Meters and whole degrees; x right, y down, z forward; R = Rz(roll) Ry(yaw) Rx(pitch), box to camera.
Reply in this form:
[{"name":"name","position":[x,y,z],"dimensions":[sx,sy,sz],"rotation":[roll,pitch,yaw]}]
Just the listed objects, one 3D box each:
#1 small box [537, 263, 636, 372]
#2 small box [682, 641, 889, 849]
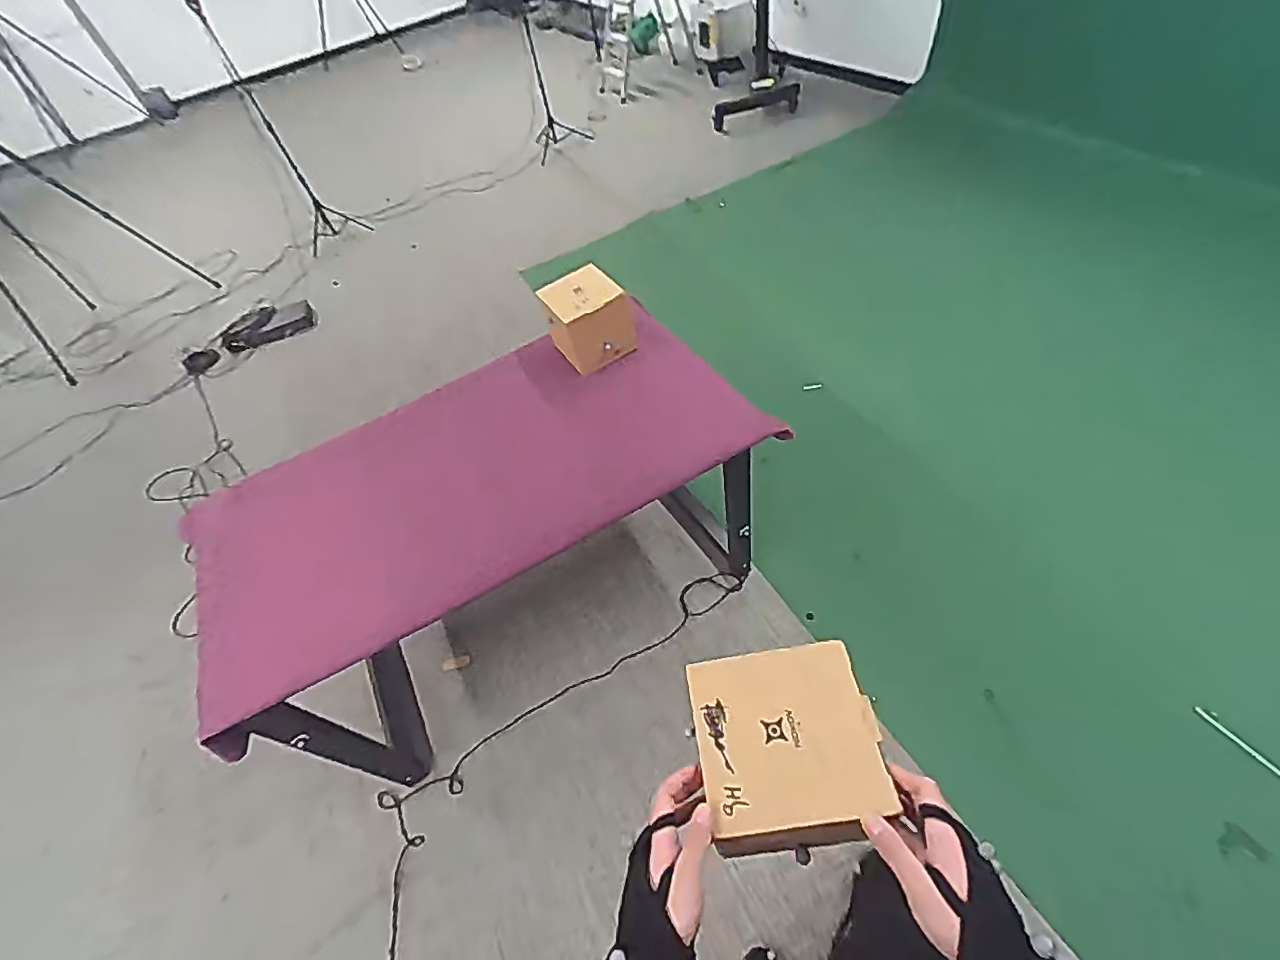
[{"name":"small box","position":[-0.130,-0.406,1.361],"dimensions":[0.168,0.176,0.179],"rotation":[-32,54,-9]},{"name":"small box","position":[0.149,0.301,0.608],"dimensions":[0.179,0.176,0.168],"rotation":[-10,49,5]}]
